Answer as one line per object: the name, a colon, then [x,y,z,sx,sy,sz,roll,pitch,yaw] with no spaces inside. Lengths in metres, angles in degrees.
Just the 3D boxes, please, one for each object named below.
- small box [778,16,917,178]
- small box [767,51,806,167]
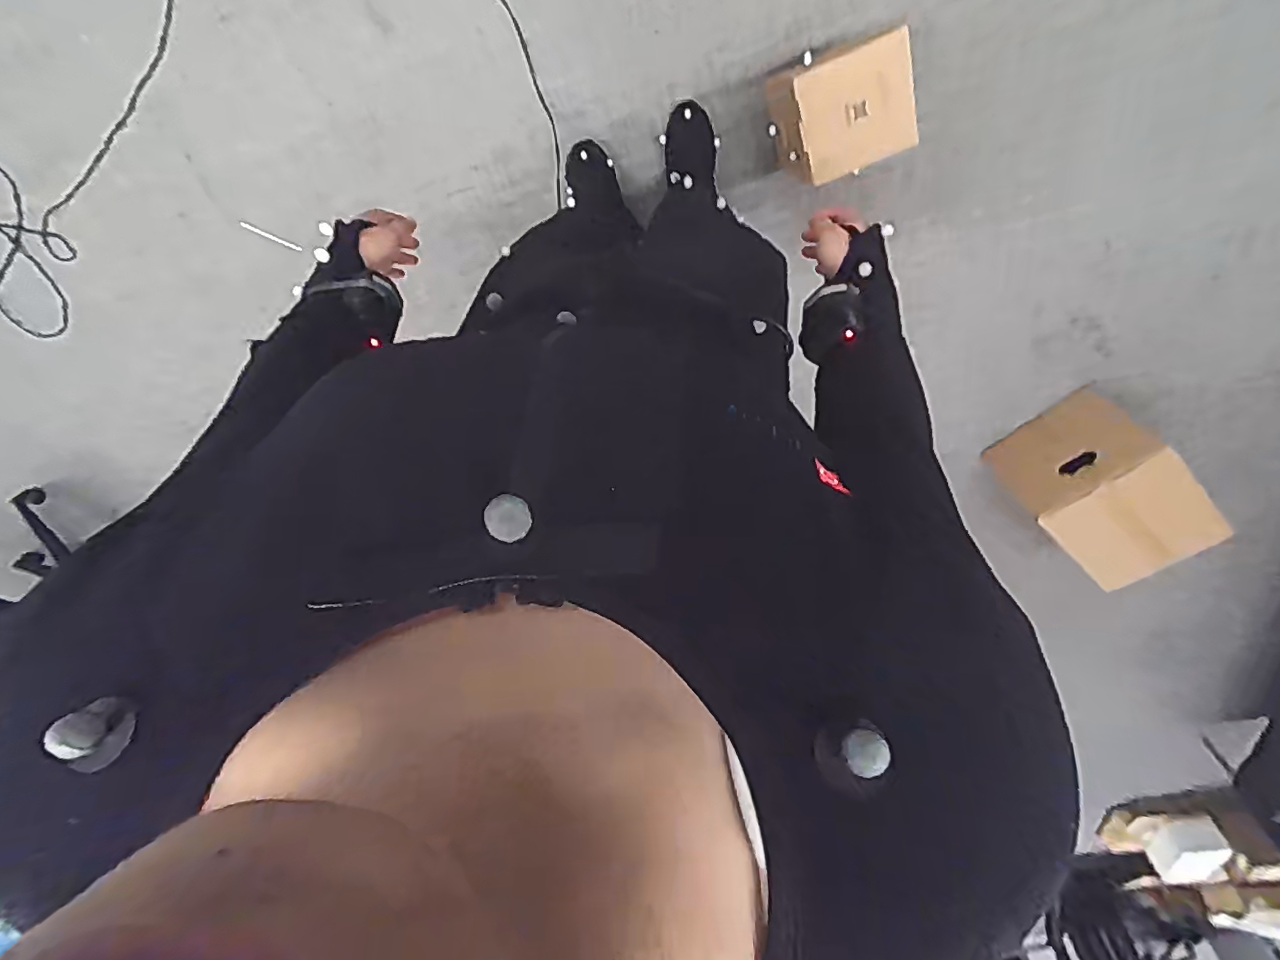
small box: [0.346,-0.650,0.926,0.179,0.176,0.168,-19,126,14]
small box: [0.355,-0.742,1.060,0.179,0.176,0.168,-15,126,14]
